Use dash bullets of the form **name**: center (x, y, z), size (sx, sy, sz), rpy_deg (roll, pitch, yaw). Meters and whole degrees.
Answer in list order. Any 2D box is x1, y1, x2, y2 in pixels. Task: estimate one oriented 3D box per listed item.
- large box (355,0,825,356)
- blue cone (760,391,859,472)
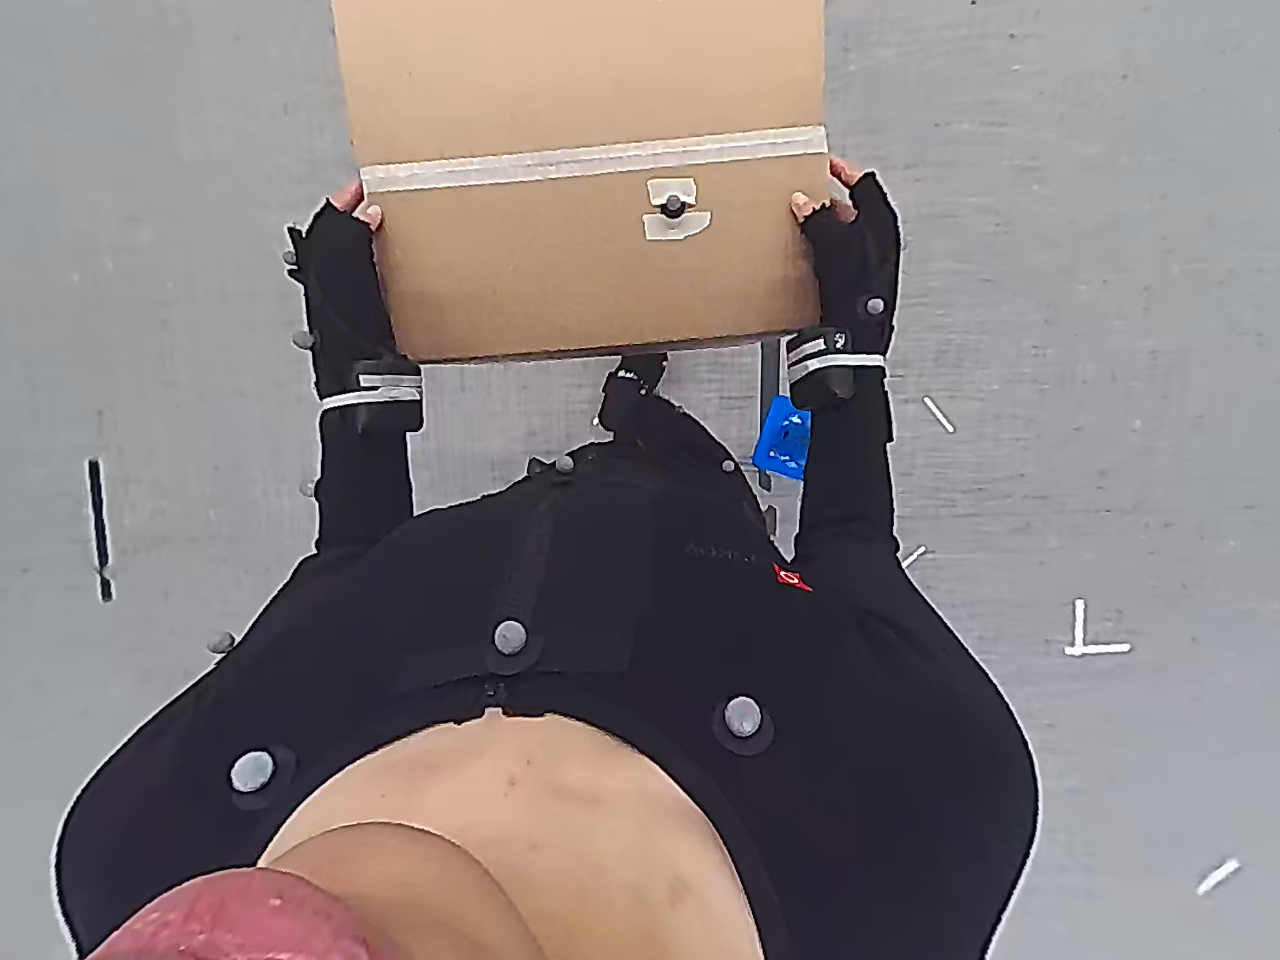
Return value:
- **large box**: center (-0.038, -0.322, 0.629), size (0.408, 0.320, 0.320), rpy_deg (-4, 102, 0)
- **blue cone**: center (0.426, -0.109, 1.280), size (0.193, 0.380, 0.192), rpy_deg (20, 96, -1)
